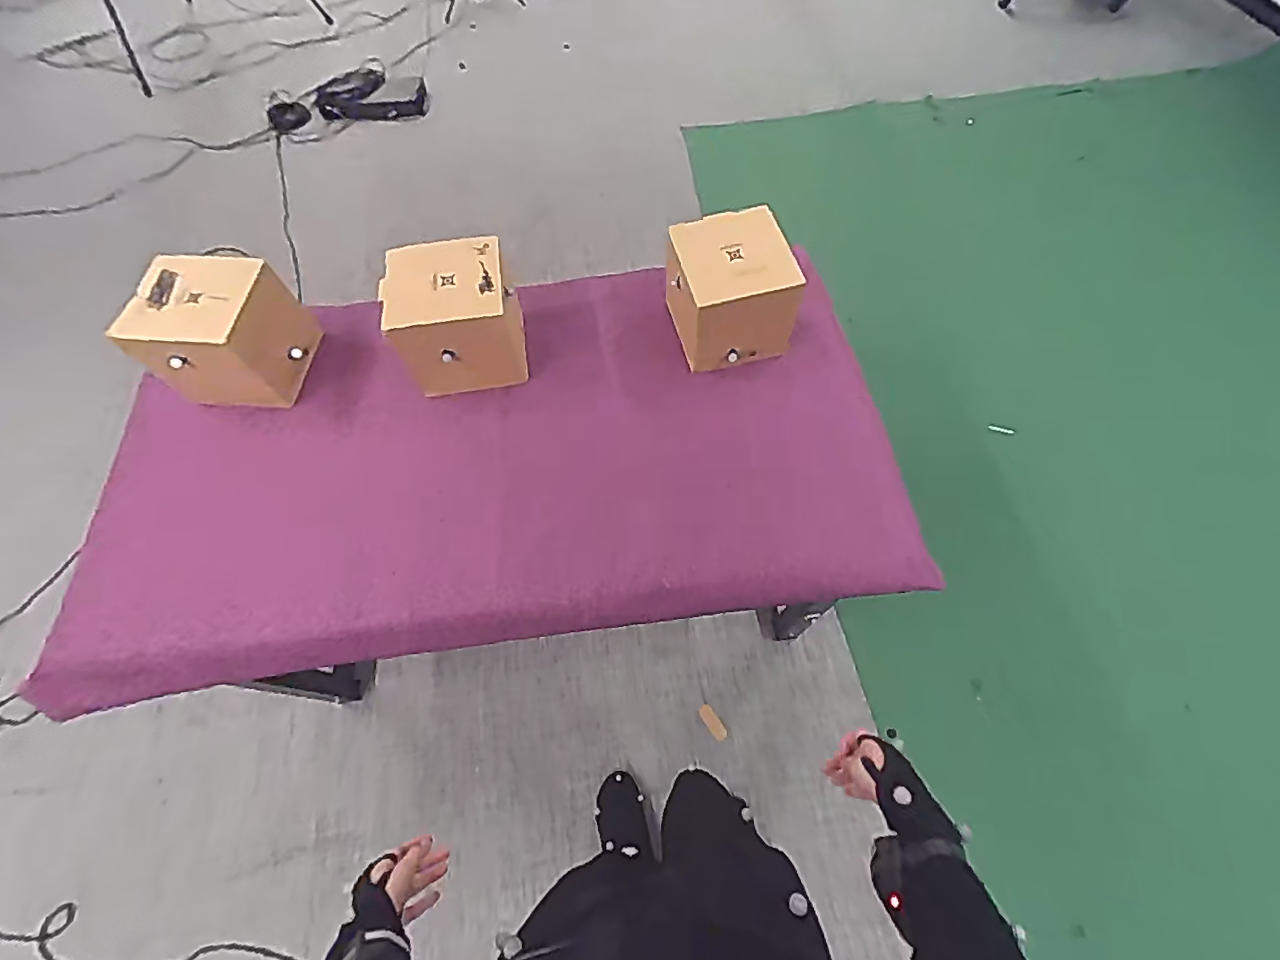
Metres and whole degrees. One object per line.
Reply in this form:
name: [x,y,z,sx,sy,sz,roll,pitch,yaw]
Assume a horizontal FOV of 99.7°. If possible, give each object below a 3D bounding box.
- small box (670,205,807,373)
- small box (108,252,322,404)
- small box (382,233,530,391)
small box: [0.146,-0.304,0.877,0.168,0.176,0.179,-13,65,-3]
small box: [-0.655,-0.236,0.860,0.179,0.176,0.168,3,65,2]
small box: [-0.285,-0.260,0.865,0.179,0.176,0.168,-9,65,-2]
